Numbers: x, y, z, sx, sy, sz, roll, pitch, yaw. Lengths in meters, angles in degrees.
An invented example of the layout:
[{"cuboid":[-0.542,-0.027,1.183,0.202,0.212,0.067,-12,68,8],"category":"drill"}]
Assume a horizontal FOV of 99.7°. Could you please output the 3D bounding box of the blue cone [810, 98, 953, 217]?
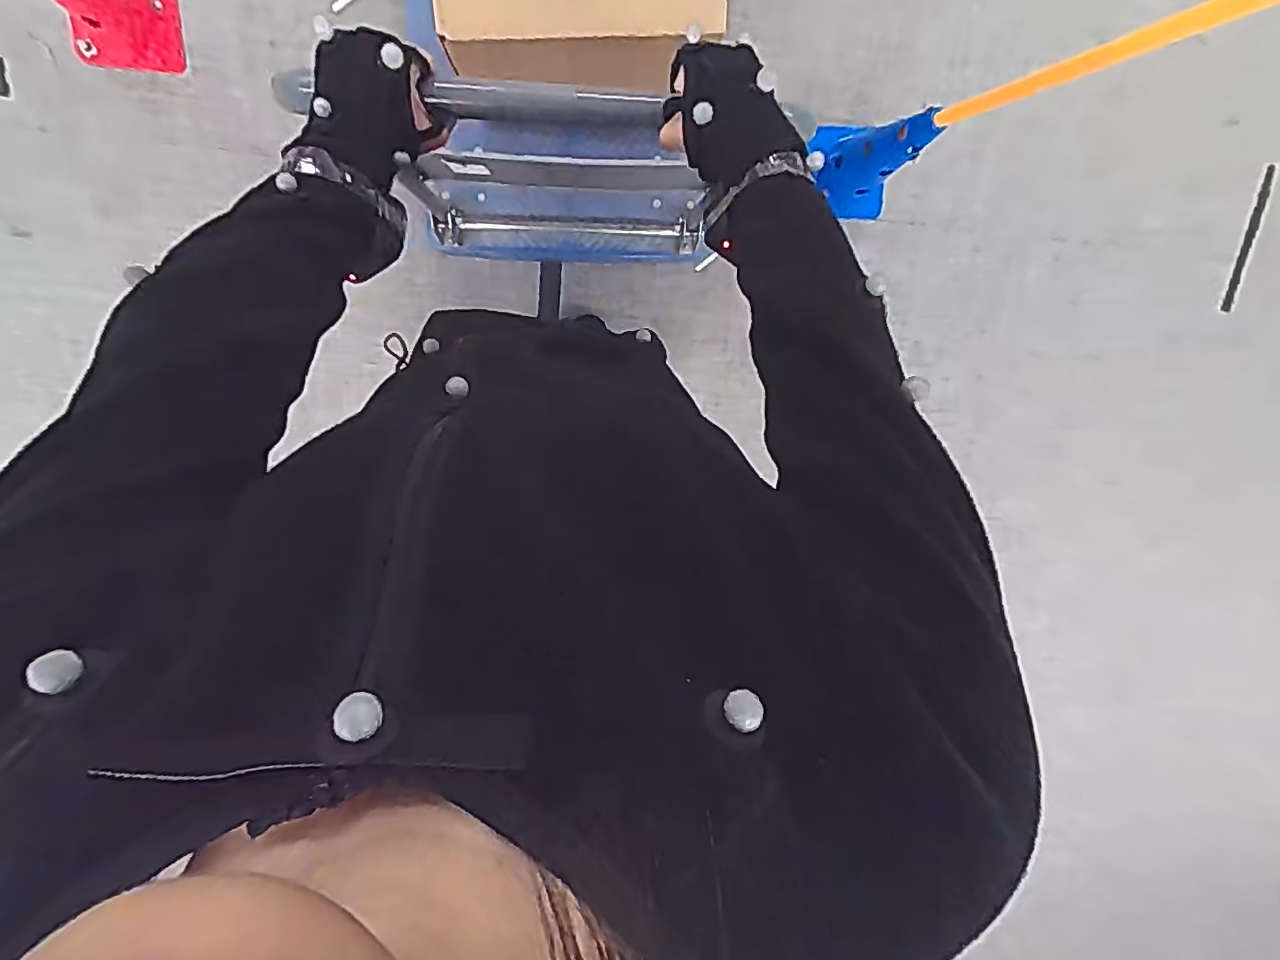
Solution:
[{"cuboid":[0.517,-0.692,1.135,0.193,0.380,0.192,-1,105,-7],"category":"blue cone"}]
